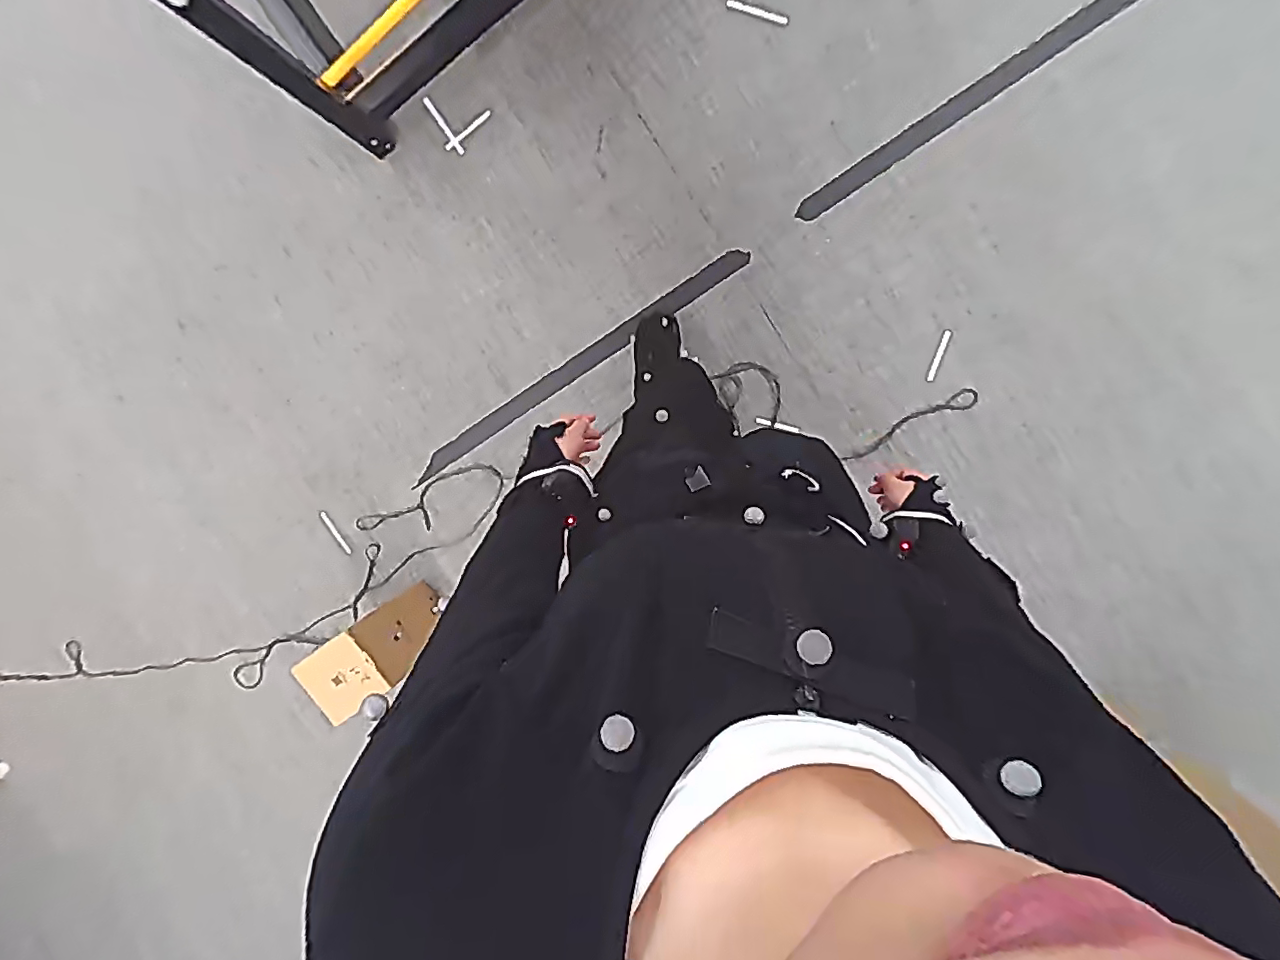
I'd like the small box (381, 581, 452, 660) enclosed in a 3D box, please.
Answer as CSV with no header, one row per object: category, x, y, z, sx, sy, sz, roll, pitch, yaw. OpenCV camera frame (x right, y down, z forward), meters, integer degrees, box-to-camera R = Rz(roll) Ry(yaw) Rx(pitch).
small box,-0.628,0.394,1.409,0.179,0.176,0.168,-33,95,9

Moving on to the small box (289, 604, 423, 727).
small box,-0.643,0.419,1.247,0.179,0.176,0.168,-35,95,9
